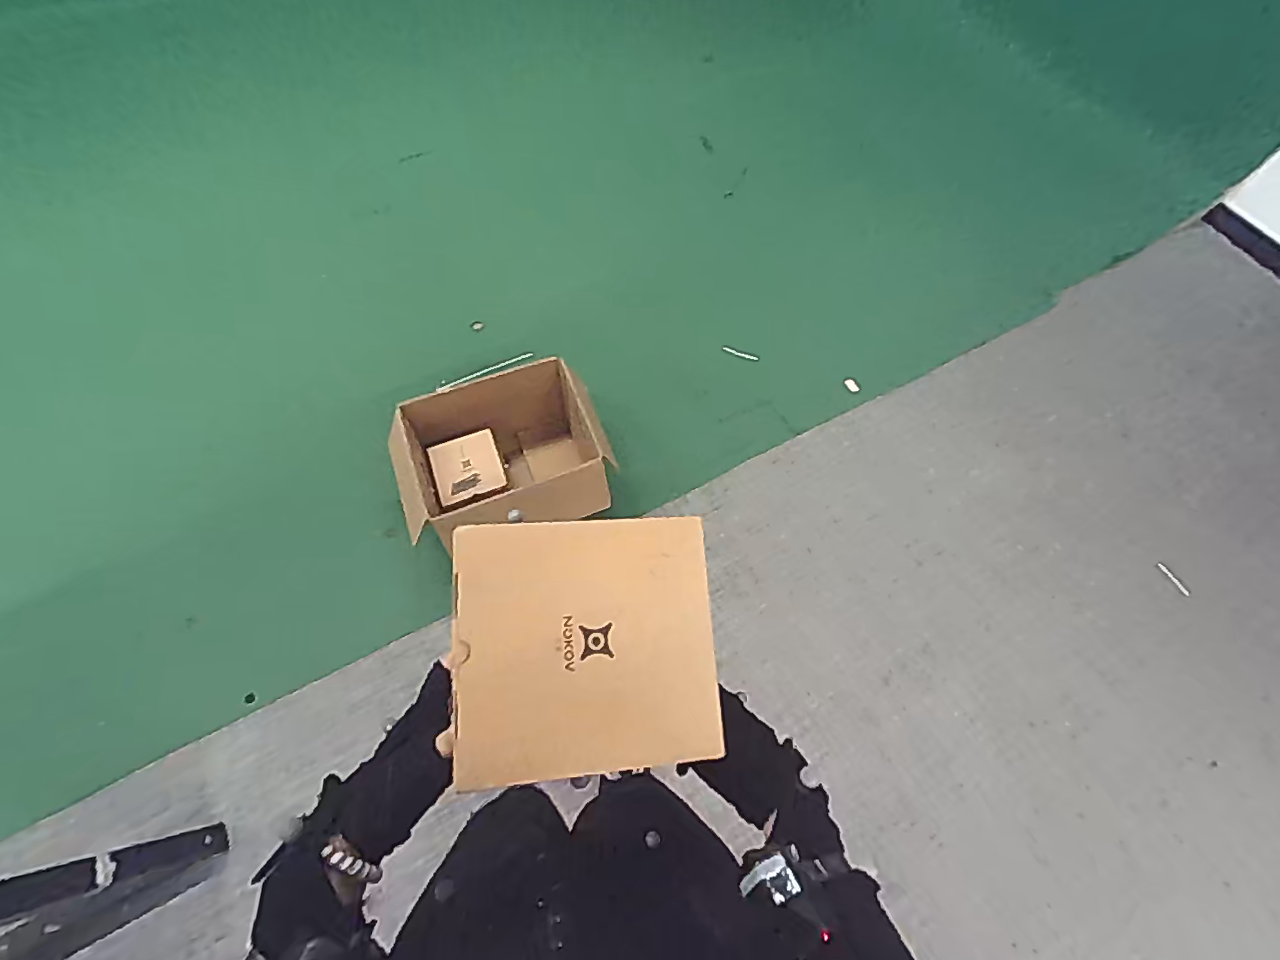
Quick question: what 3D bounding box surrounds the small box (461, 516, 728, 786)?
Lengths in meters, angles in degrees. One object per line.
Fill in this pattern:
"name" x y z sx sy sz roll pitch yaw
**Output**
"small box" -0.045 0.124 0.439 0.179 0.176 0.168 -2 77 -12
